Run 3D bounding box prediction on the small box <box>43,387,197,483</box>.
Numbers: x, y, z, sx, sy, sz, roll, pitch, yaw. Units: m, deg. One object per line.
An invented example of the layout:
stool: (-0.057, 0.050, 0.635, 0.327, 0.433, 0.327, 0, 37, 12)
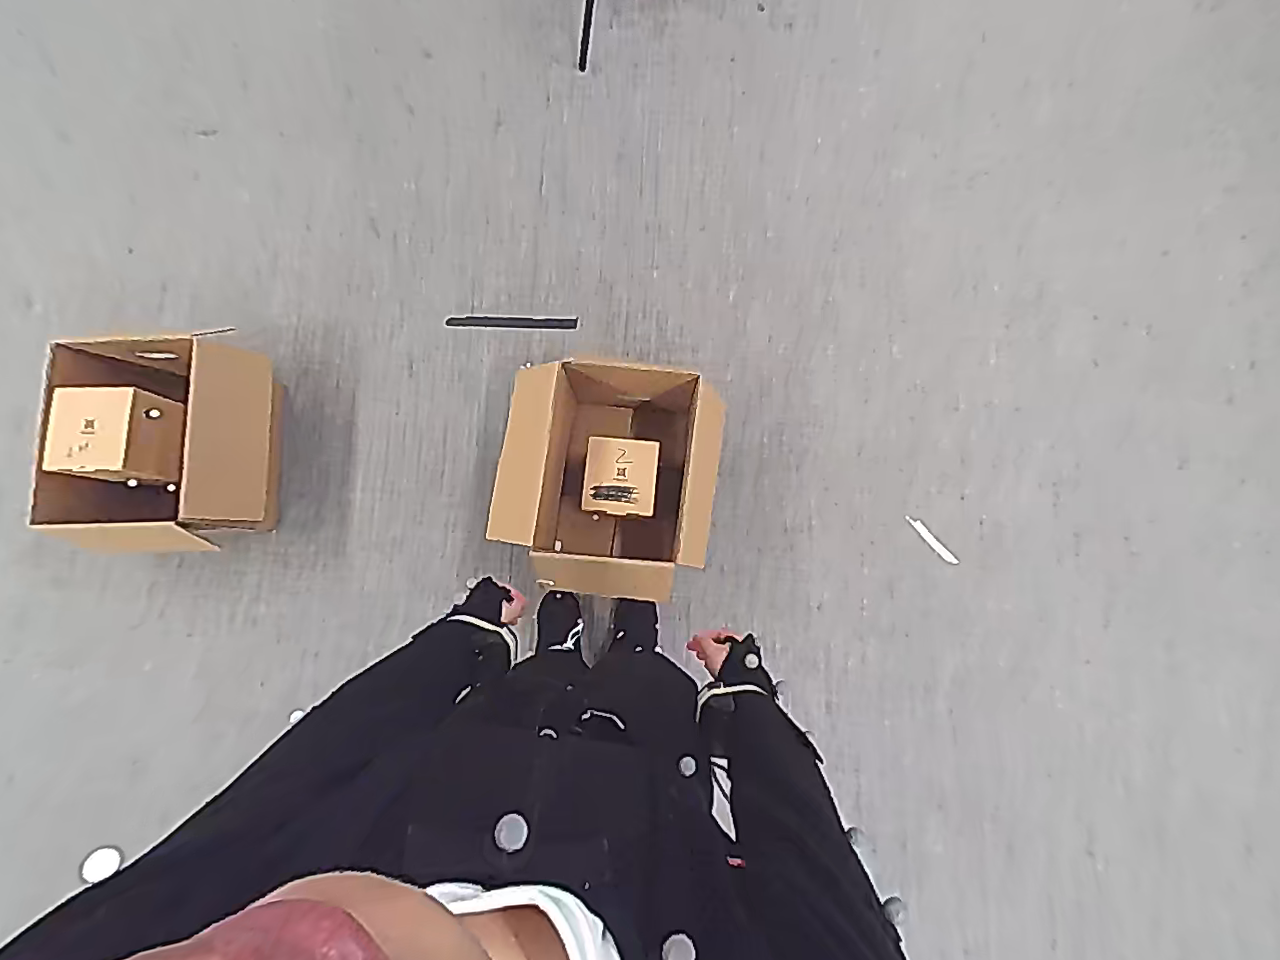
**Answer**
small box: (-1.113, -0.093, 1.174, 0.168, 0.176, 0.179, 0, 82, 1)
